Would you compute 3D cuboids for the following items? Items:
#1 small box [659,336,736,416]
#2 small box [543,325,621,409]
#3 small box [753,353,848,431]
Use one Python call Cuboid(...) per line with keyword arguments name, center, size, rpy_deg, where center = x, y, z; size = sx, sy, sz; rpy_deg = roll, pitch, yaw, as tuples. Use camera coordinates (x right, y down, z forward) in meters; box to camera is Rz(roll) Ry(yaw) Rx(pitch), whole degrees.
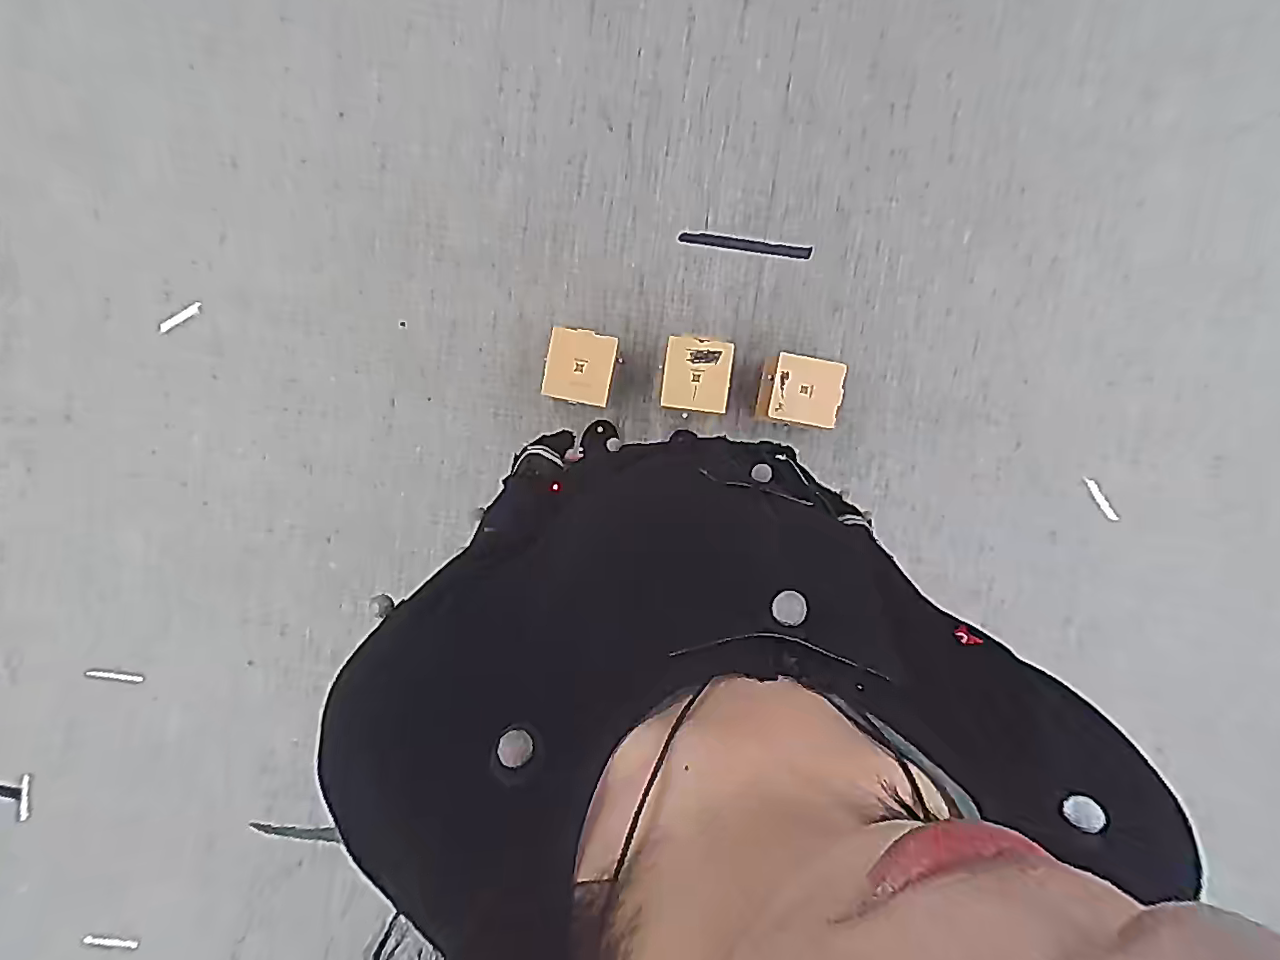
Cuboid(name="small box", center=(0.142, -0.265, 1.411), size=(0.168, 0.176, 0.179), rpy_deg=(7, 95, -2))
Cuboid(name="small box", center=(-0.145, -0.286, 1.406), size=(0.168, 0.176, 0.179), rpy_deg=(11, 96, -1))
Cuboid(name="small box", center=(0.415, -0.227, 1.423), size=(0.179, 0.176, 0.168), rpy_deg=(11, 95, -3))
